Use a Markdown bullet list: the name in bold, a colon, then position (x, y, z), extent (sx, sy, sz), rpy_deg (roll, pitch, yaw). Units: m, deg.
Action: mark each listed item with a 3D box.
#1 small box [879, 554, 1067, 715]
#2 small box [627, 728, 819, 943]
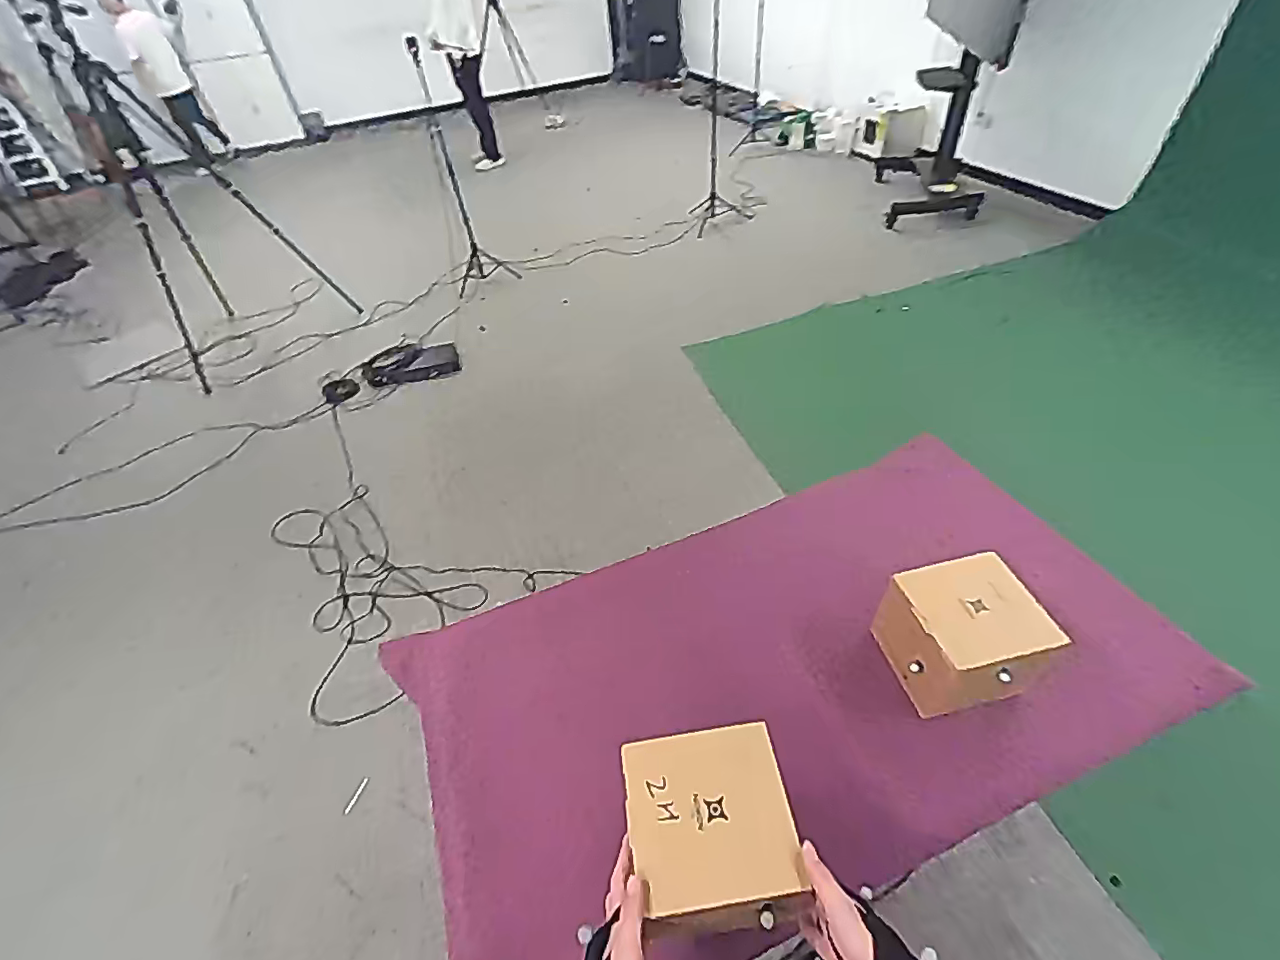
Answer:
- **small box**: position (0.498, 0.246, 0.848), extent (0.179, 0.176, 0.168), rpy_deg (-11, 45, -5)
- **small box**: position (0.086, 0.413, 0.628), extent (0.179, 0.176, 0.168), rpy_deg (-9, 44, -1)
